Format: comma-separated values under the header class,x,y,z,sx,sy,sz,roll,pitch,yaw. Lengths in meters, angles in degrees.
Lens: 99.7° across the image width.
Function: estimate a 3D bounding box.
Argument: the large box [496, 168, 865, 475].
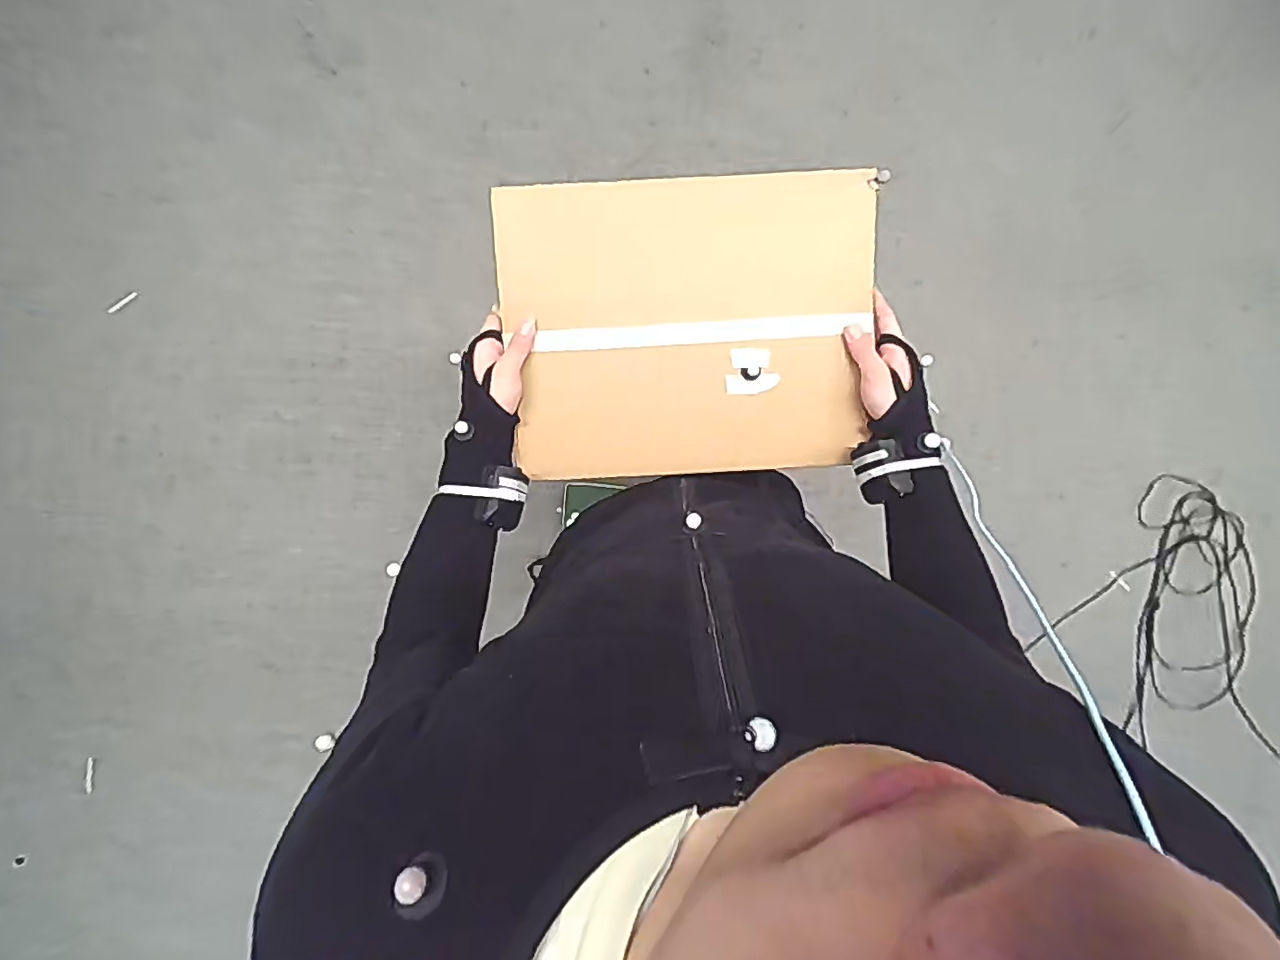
class,x,y,z,sx,sy,sz,roll,pitch,yaw
large box,0.048,-0.195,0.750,0.408,0.320,0.320,-4,101,-1
